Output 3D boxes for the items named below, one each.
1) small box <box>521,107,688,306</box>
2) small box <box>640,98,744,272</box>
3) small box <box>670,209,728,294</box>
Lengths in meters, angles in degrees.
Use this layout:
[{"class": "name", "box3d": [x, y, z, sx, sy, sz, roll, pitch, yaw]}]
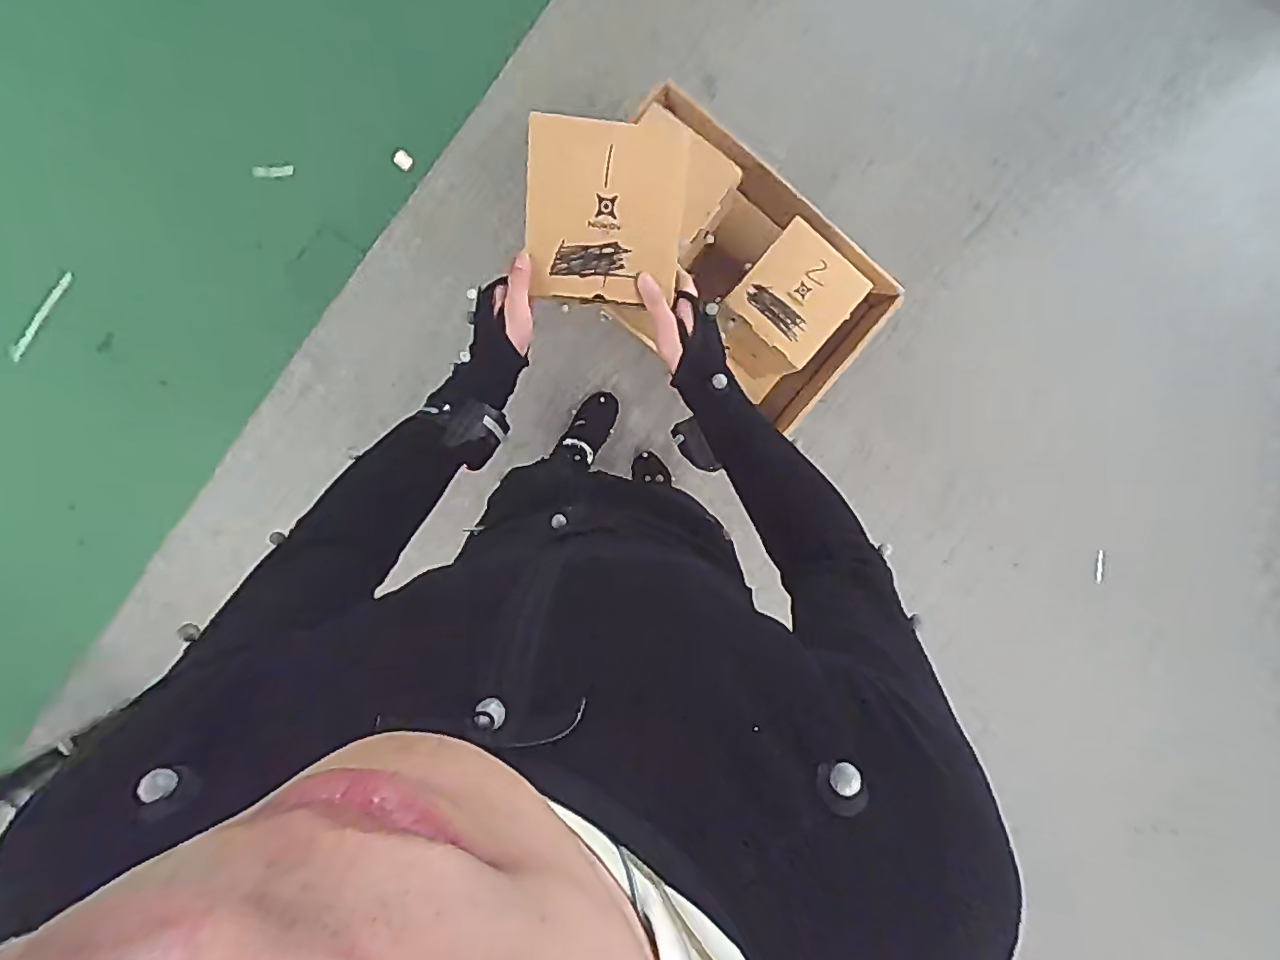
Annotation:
[{"class": "small box", "box3d": [-0.042, -0.303, 0.638, 0.168, 0.176, 0.179, 4, 106, -4]}, {"class": "small box", "box3d": [0.044, -0.474, 0.908, 0.179, 0.176, 0.168, 37, 96, -5]}, {"class": "small box", "box3d": [0.045, -0.495, 1.070, 0.179, 0.176, 0.168, 39, 96, -6]}]
